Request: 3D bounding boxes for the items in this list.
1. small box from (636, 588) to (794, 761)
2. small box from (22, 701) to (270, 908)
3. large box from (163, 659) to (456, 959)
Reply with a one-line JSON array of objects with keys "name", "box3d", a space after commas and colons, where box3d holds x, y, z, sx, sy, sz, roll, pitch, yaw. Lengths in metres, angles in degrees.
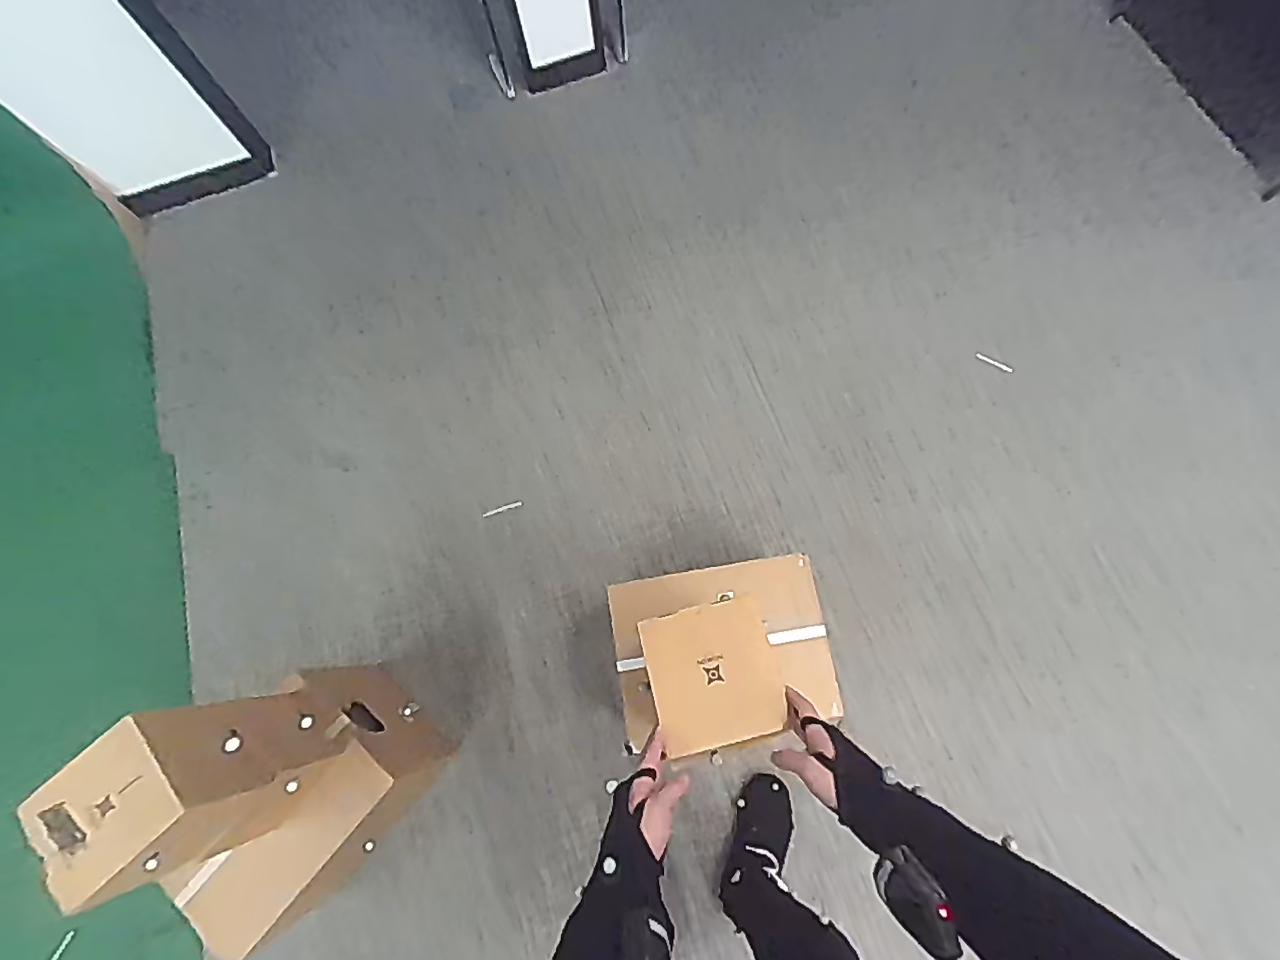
[{"name": "small box", "box3d": [0.098, 0.279, 0.756, 0.168, 0.176, 0.179, -14, 55, -3]}, {"name": "small box", "box3d": [-0.698, 0.449, 0.785, 0.179, 0.176, 0.168, -43, 75, -9]}, {"name": "large box", "box3d": [-0.682, 0.647, 1.153, 0.320, 0.320, 0.408, 38, 80, 14]}]
